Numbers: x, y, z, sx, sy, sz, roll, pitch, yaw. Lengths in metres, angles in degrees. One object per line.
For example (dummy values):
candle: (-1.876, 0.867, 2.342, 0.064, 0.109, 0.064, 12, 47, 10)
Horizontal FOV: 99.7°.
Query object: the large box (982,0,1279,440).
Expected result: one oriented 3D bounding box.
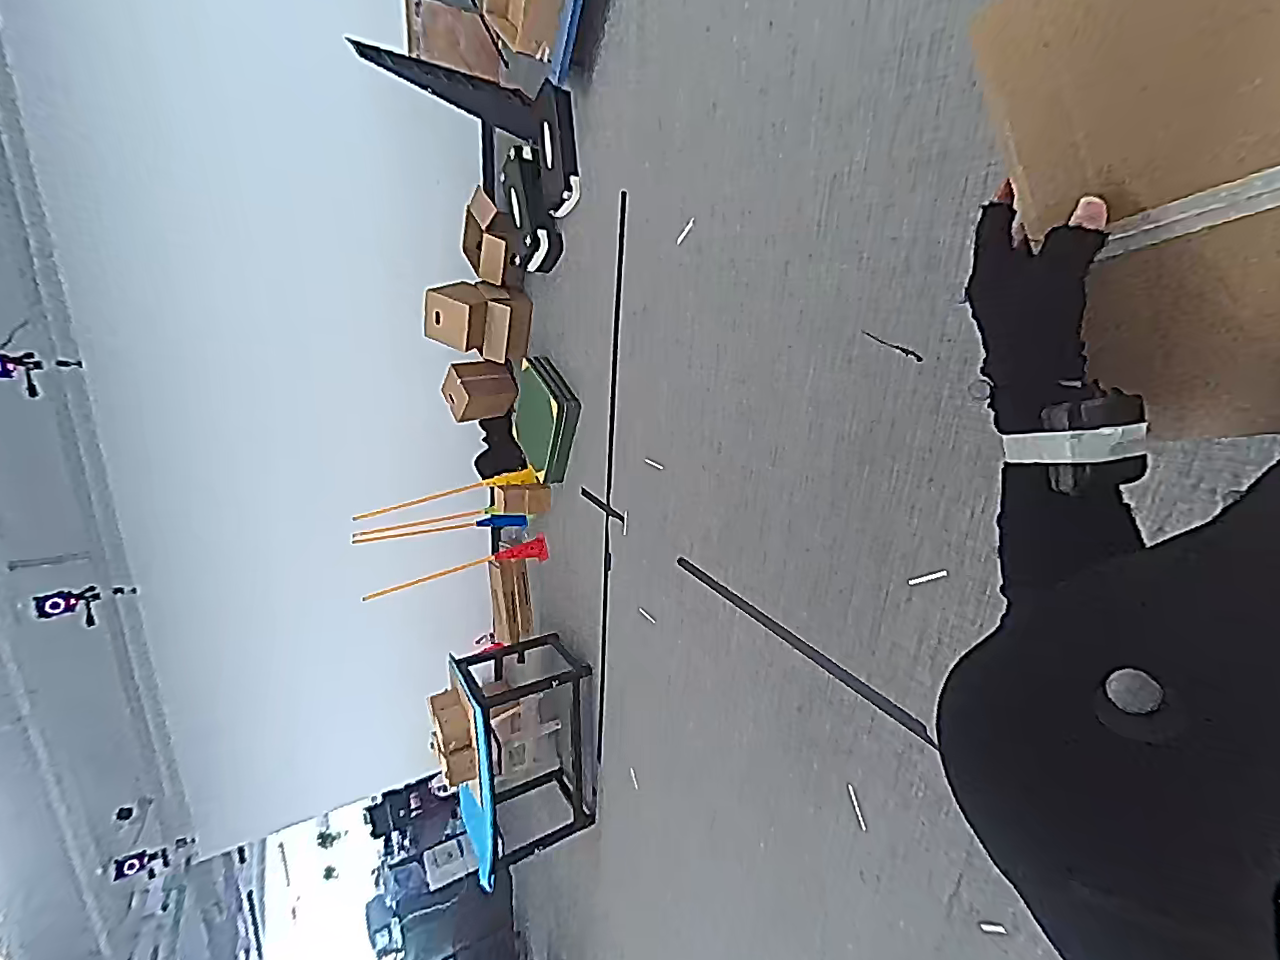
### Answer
large box: (0.491, -0.248, 0.282, 0.408, 0.320, 0.320, -3, 125, 57)
